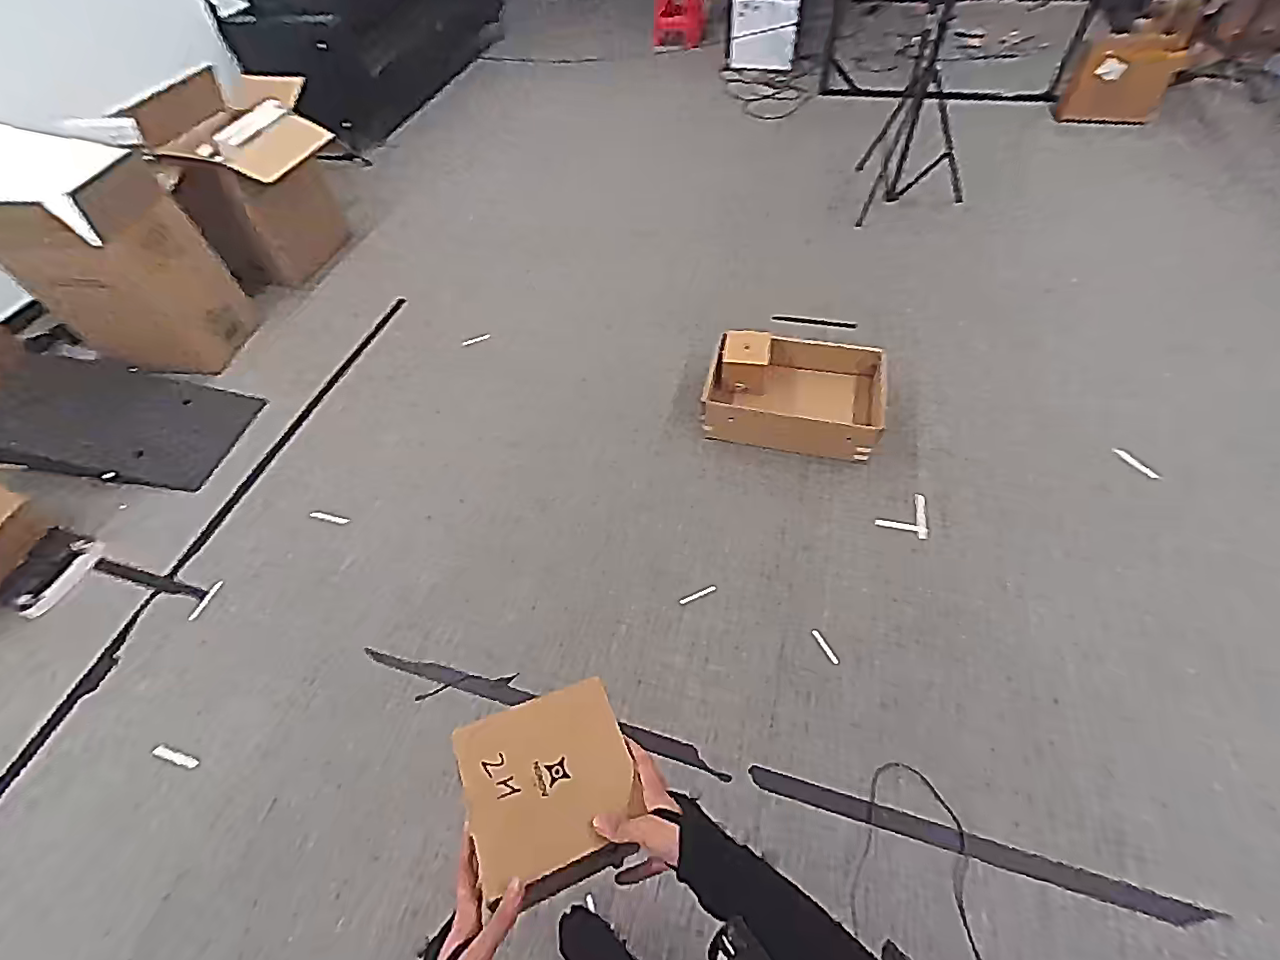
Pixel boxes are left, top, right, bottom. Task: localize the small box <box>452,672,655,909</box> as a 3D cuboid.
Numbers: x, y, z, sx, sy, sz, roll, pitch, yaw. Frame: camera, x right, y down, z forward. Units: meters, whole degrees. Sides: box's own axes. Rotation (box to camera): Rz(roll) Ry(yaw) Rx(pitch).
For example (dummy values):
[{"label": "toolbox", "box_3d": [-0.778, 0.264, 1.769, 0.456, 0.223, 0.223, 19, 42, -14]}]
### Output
[{"label": "small box", "box_3d": [-0.101, 0.355, 0.622, 0.179, 0.176, 0.168, -15, 51, -19]}]
